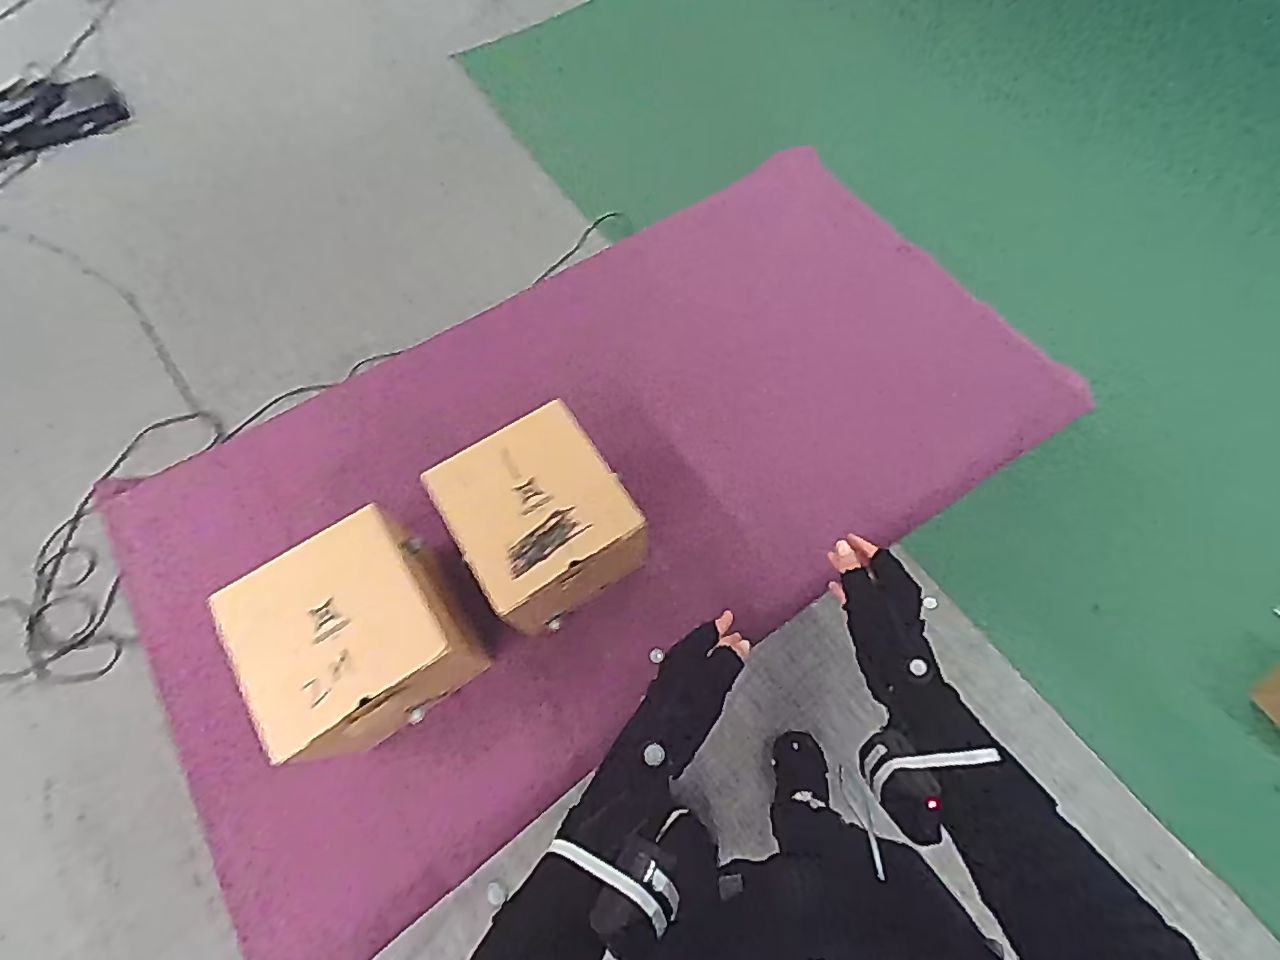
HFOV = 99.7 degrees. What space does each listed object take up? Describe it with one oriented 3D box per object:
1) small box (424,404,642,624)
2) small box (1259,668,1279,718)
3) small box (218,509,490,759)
[{"bbox_3d":[-0.109,0.050,0.630,0.168,0.176,0.179,-35,74,-9],"label":"small box"},{"bbox_3d":[1.587,0.495,1.217,0.179,0.176,0.168,-32,71,-12],"label":"small box"},{"bbox_3d":[-0.287,0.166,0.578,0.168,0.176,0.179,-33,72,-13],"label":"small box"}]
